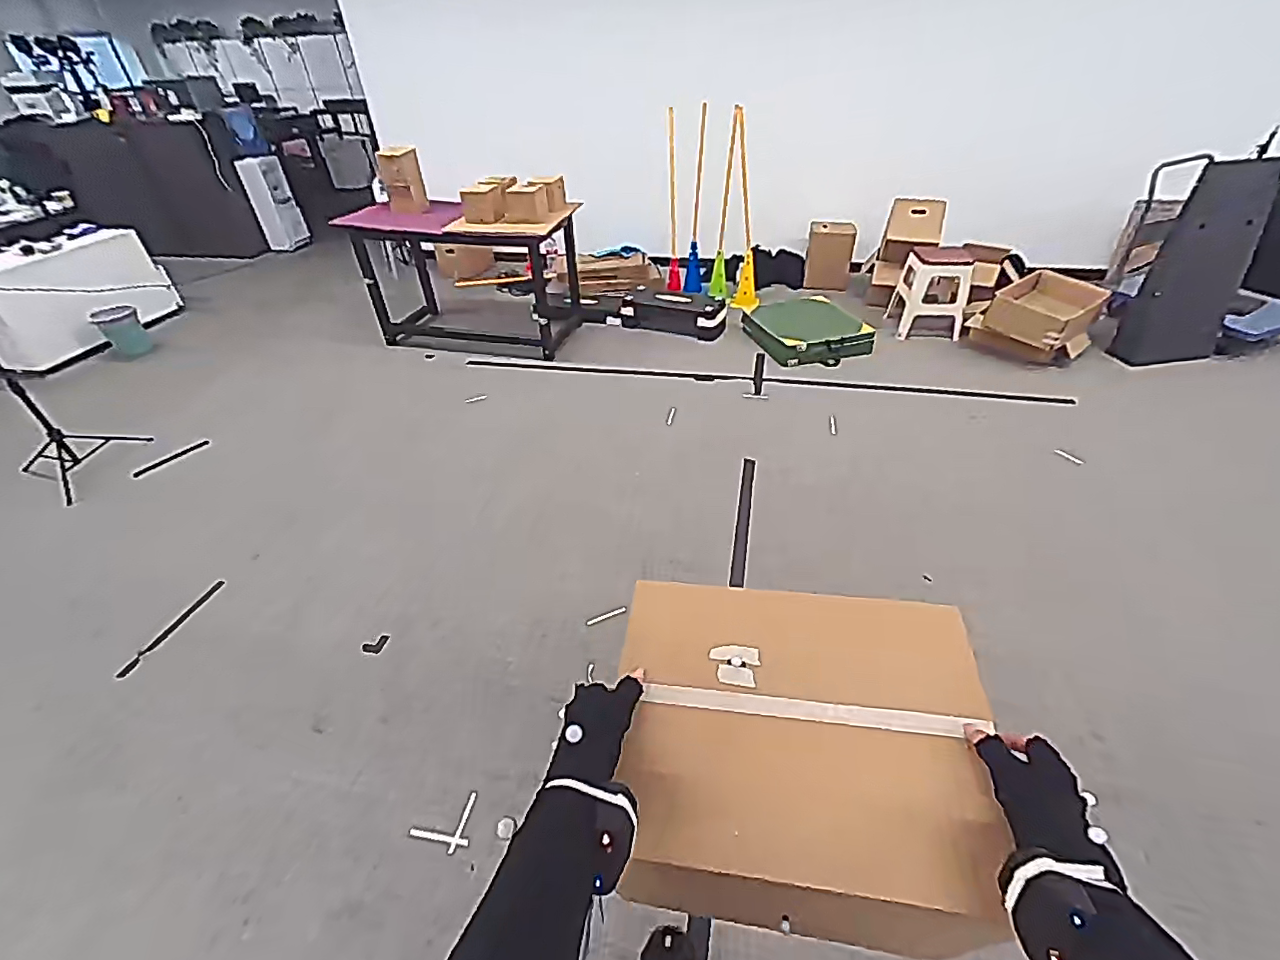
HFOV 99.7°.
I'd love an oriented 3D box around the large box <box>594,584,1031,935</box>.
[{"bbox_3d":[0.186,0.361,0.711,0.408,0.320,0.320,2,45,10],"label":"large box"}]
